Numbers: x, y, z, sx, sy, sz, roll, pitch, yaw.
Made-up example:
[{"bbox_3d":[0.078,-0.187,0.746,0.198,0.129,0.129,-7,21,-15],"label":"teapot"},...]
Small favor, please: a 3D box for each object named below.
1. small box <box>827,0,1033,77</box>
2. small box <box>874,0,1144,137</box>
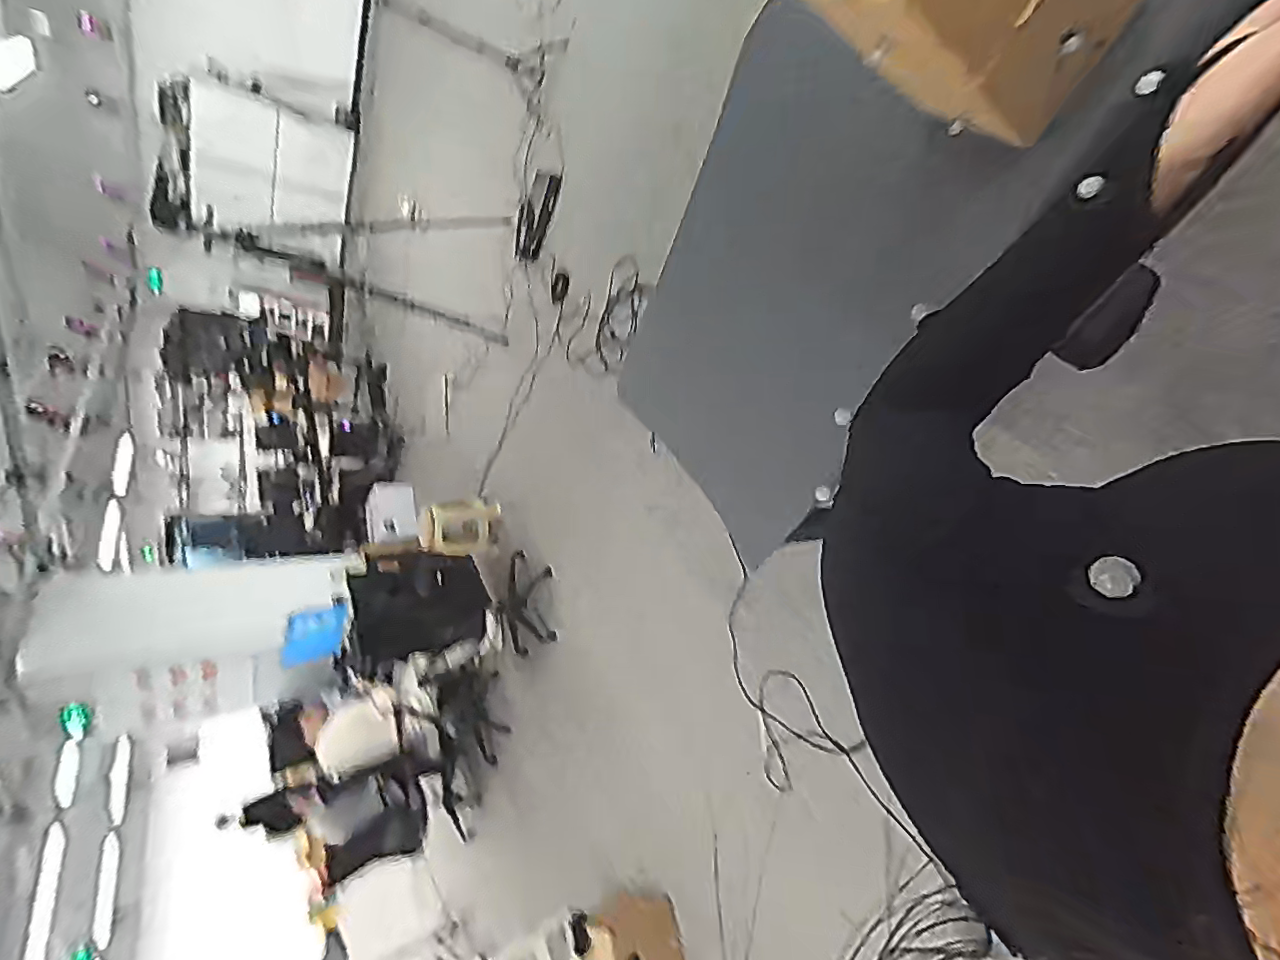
[{"bbox_3d":[0.298,-0.542,0.528,0.168,0.176,0.179,56,132,38],"label":"small box"},{"bbox_3d":[0.426,-0.532,0.629,0.179,0.176,0.168,58,133,37],"label":"small box"}]
